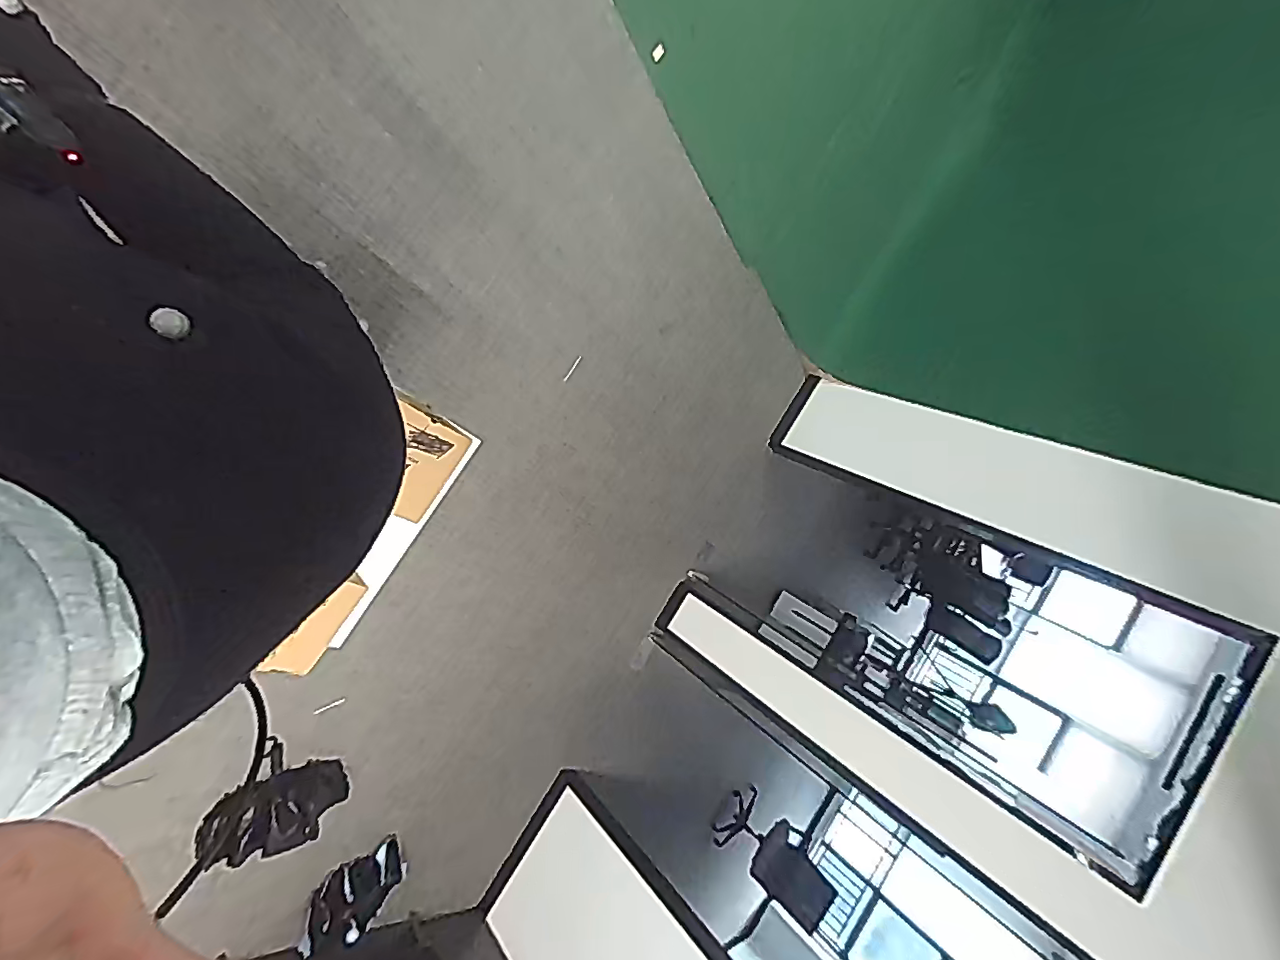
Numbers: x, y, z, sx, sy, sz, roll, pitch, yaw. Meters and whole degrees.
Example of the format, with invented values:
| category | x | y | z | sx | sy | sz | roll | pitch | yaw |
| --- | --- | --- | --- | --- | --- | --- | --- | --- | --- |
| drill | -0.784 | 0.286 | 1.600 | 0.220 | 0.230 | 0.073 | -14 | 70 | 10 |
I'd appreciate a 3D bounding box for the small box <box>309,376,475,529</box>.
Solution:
| category | x | y | z | sx | sy | sz | roll | pitch | yaw |
| --- | --- | --- | --- | --- | --- | --- | --- | --- | --- |
| small box | -0.421 | -0.050 | 0.913 | 0.179 | 0.176 | 0.168 | -57 | 140 | -2 |
